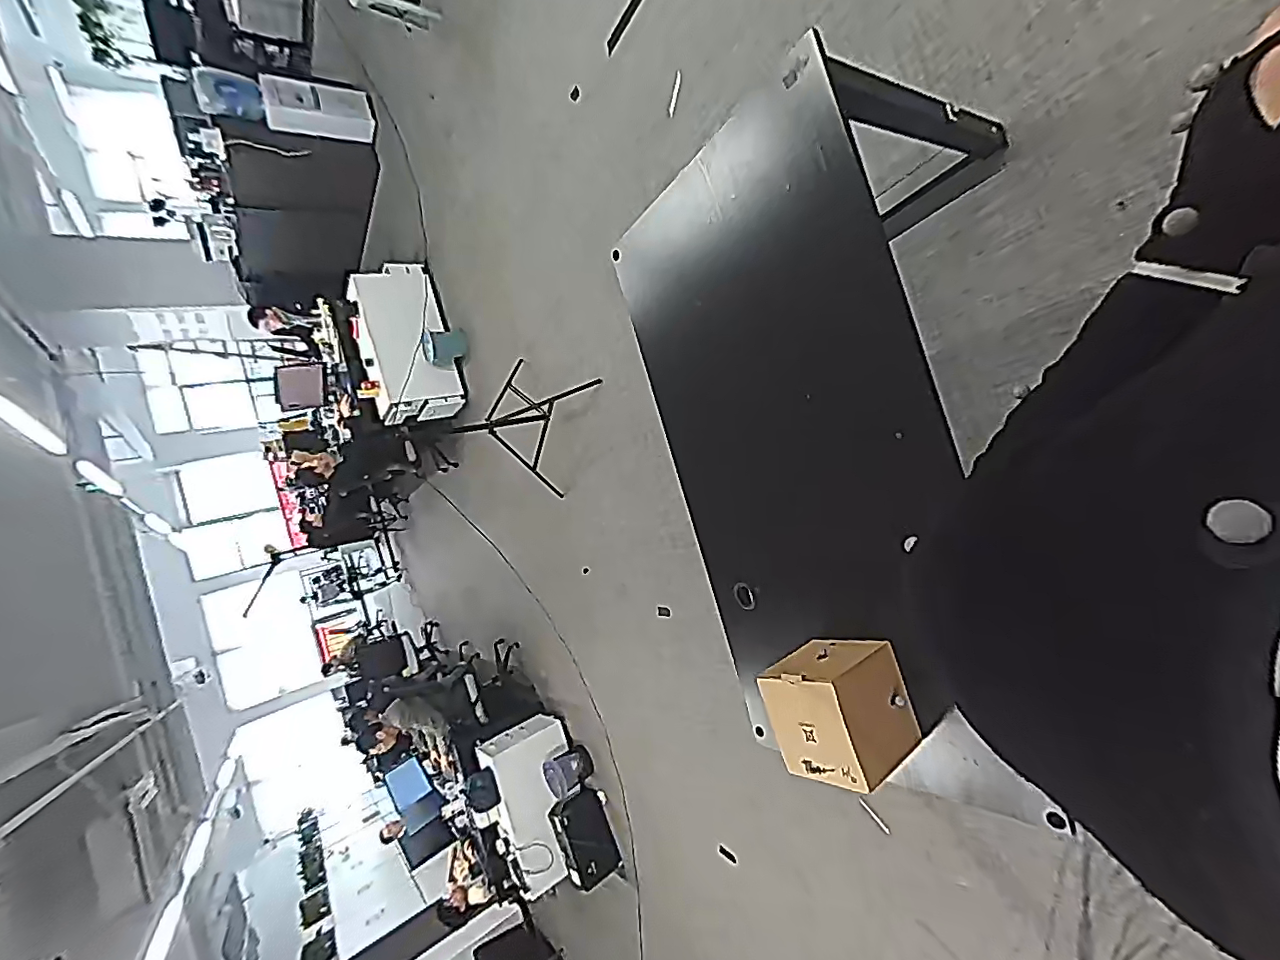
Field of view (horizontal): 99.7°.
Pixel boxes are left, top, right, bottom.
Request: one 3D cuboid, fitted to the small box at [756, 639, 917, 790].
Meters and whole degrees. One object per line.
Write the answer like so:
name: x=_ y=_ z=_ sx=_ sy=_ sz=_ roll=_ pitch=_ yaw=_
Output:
small box: x=0.334 y=0.382 z=0.920 sx=0.168 sy=0.176 sz=0.179 roll=-24 pitch=83 yaw=55
